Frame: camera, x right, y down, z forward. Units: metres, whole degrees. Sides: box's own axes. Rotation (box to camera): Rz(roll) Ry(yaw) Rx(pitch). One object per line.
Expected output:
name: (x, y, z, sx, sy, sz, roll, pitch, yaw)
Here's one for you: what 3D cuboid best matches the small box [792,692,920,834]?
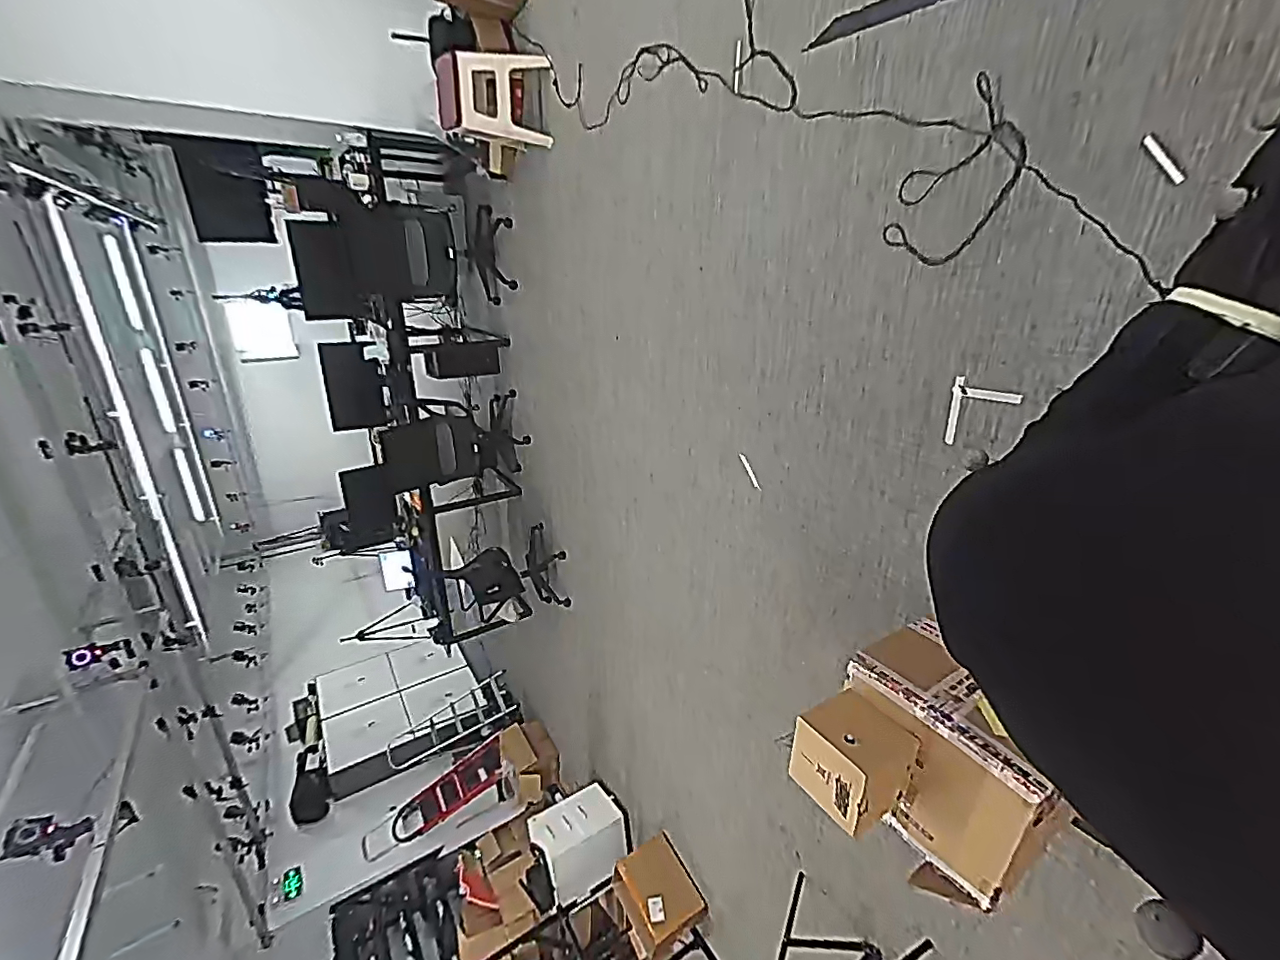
small box: (0.451, 0.577, 1.131, 0.179, 0.176, 0.168, 31, 125, 53)
